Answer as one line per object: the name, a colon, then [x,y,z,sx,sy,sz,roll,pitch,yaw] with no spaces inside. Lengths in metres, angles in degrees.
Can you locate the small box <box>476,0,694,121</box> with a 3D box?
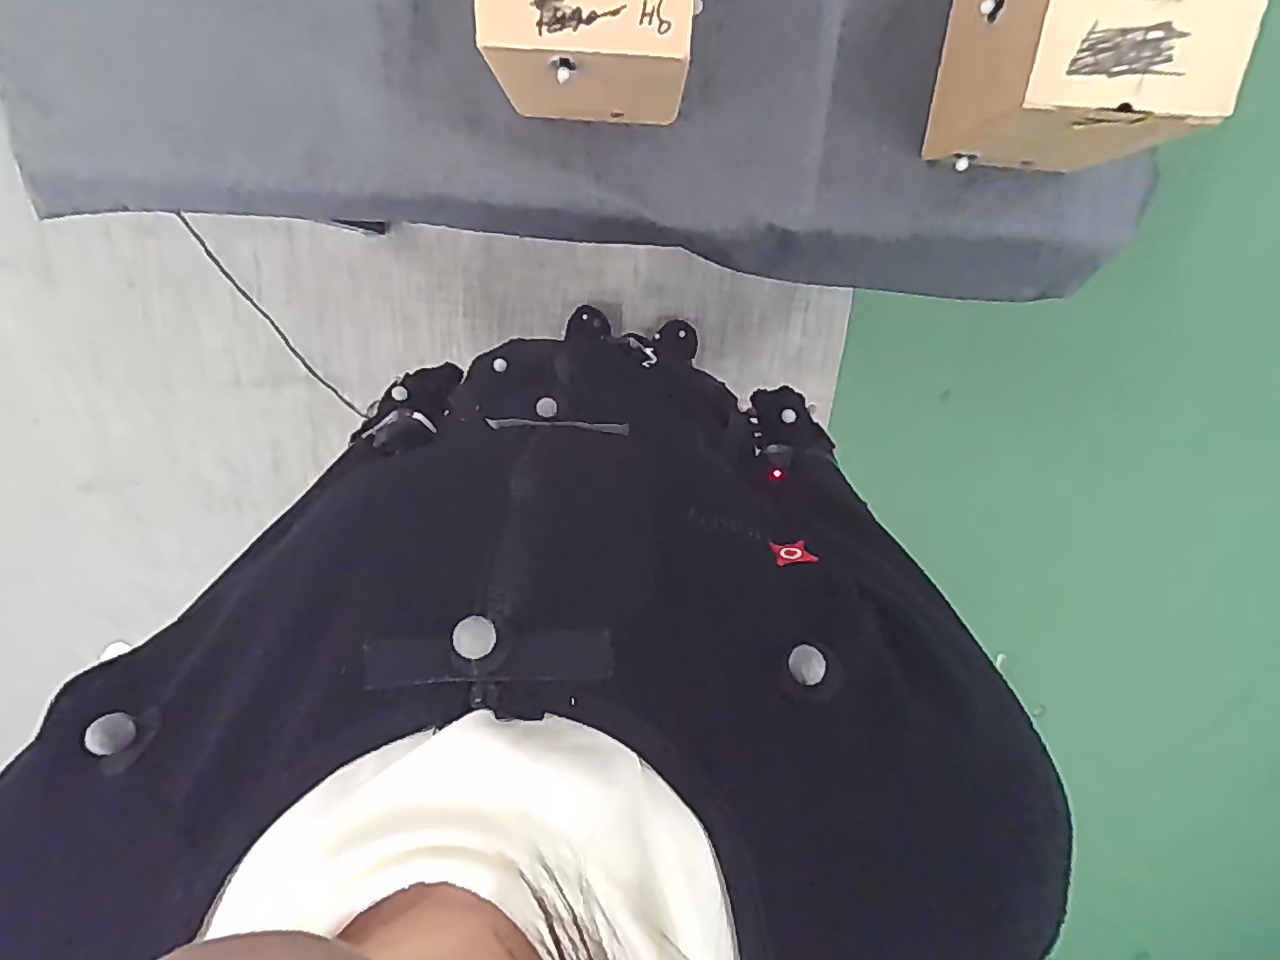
small box: [-0.039,-0.441,0.464,0.168,0.176,0.179,3,108,-1]

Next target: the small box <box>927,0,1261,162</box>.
small box: [0.386,-0.401,0.479,0.168,0.176,0.179,4,107,-1]
